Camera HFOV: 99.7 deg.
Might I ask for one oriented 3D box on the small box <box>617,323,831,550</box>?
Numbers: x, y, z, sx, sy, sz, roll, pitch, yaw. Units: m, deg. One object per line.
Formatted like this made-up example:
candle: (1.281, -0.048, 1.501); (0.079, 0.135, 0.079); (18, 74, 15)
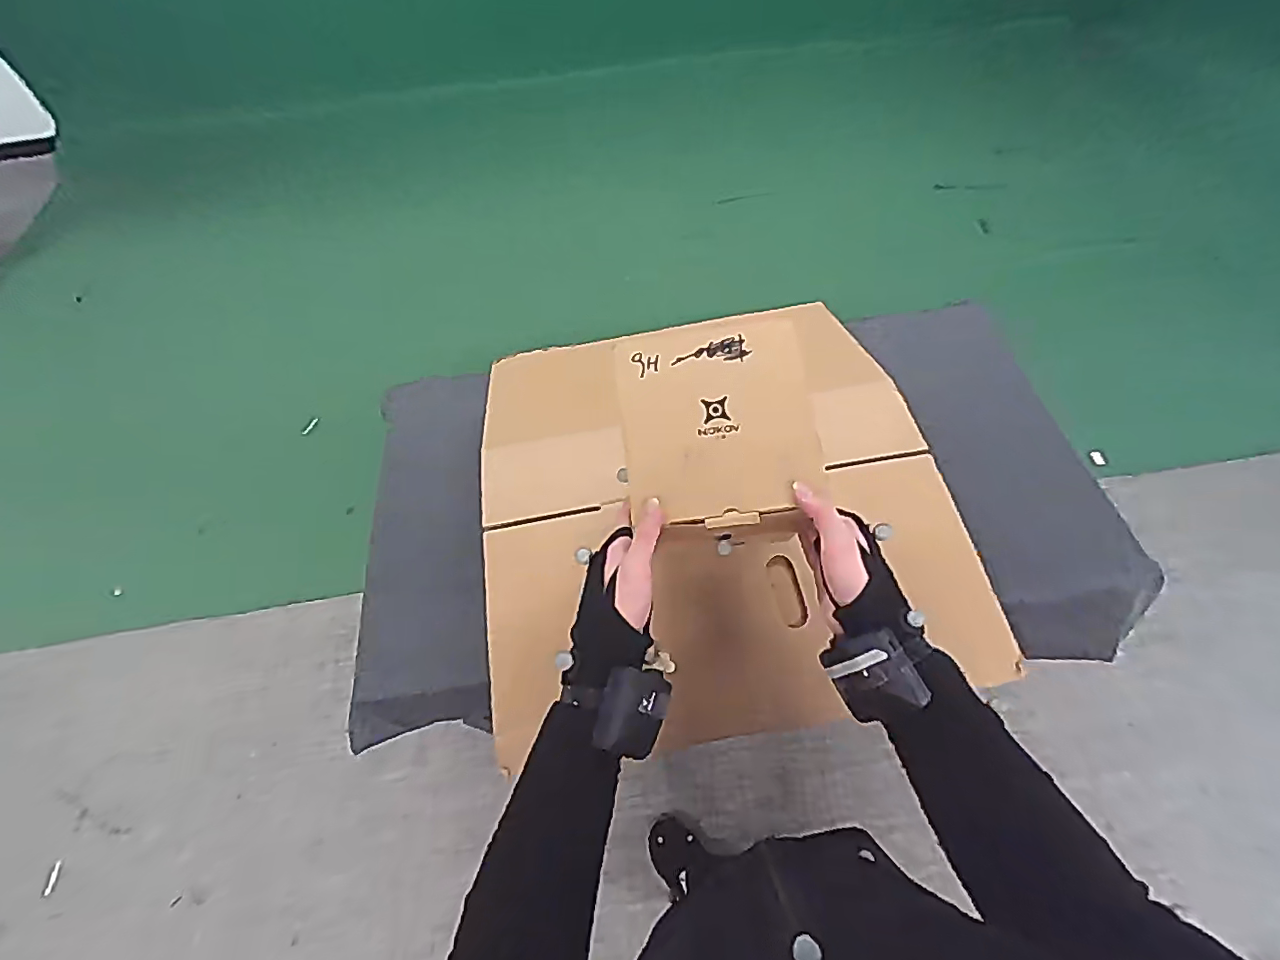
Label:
small box: (0.076, -0.029, 0.552); (0.168, 0.176, 0.179); (-9, 73, 2)
